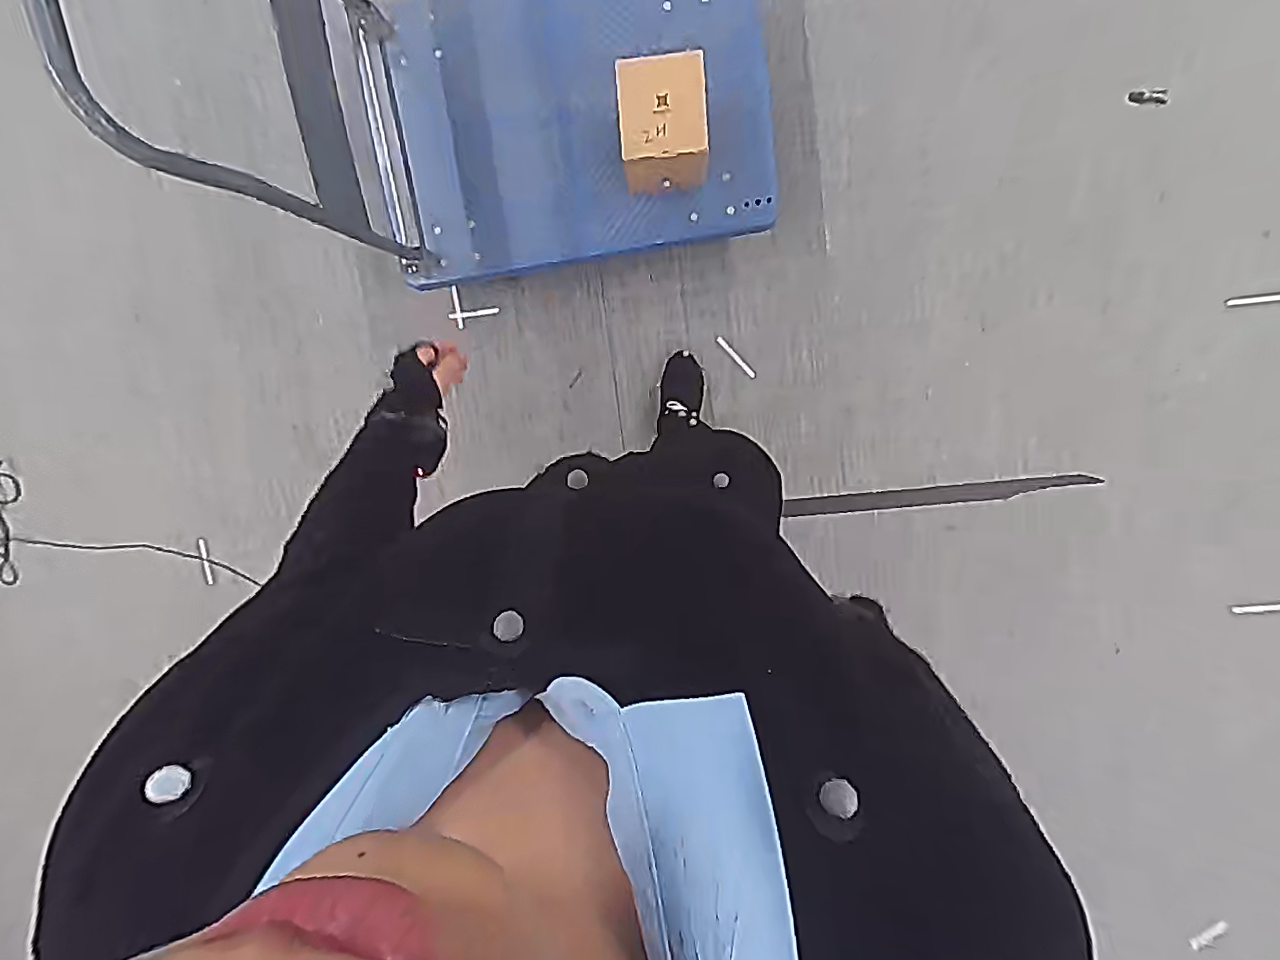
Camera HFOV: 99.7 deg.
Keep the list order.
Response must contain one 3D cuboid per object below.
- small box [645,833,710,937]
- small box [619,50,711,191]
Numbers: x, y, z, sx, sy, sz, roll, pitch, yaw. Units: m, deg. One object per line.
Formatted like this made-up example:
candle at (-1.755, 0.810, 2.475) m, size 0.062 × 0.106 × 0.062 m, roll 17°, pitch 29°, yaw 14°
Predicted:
small box at (0.111, 1.170, 1.570) m, size 0.168 × 0.176 × 0.179 m, roll -8°, pitch 98°, yaw 4°
small box at (0.051, -0.710, 1.084) m, size 0.168 × 0.176 × 0.179 m, roll -4°, pitch 99°, yaw 5°
